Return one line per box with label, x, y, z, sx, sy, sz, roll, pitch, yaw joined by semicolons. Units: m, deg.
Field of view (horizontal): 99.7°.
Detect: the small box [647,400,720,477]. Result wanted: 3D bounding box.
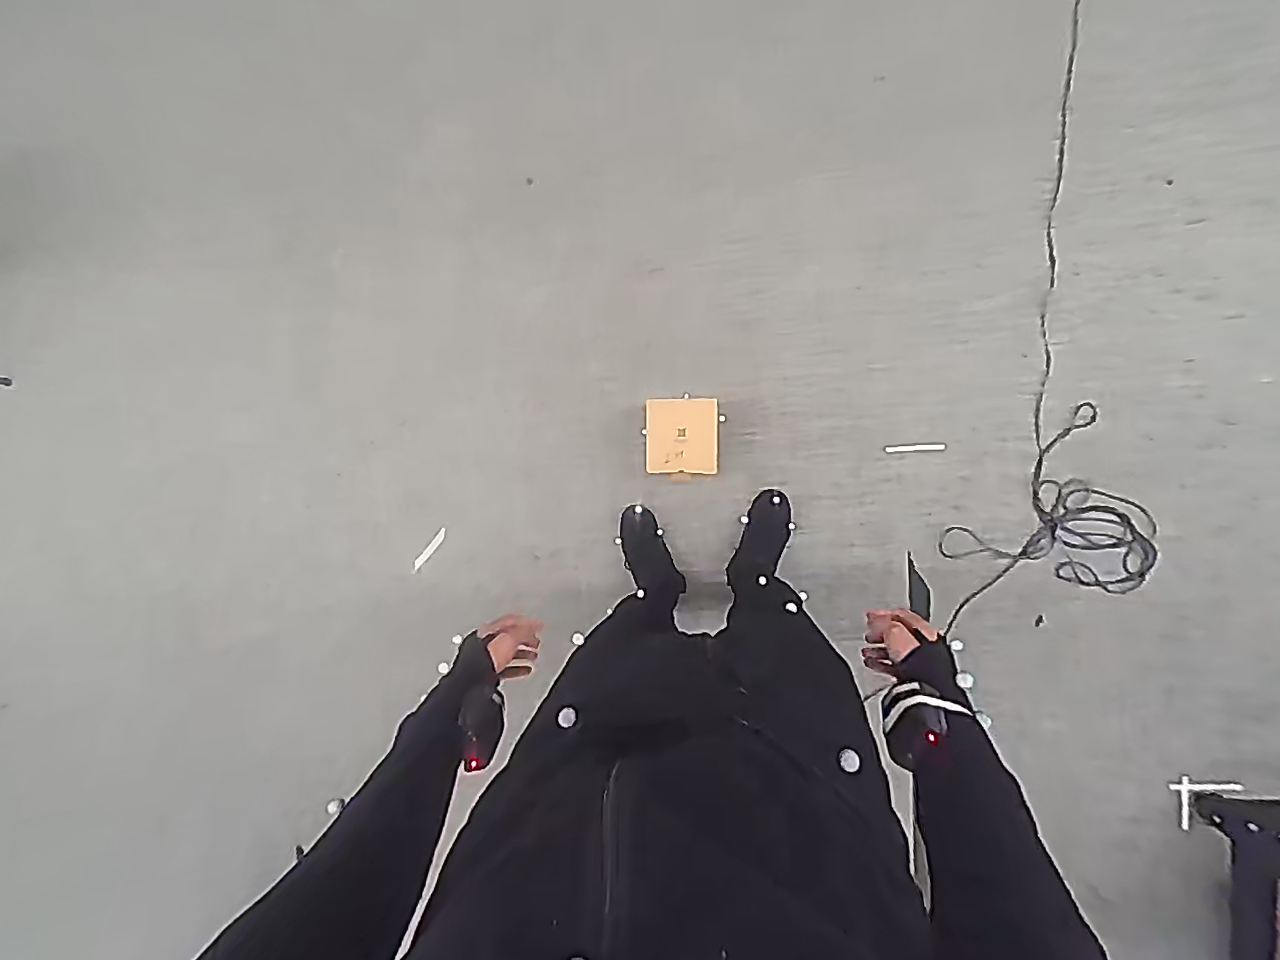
small box;0.110;-0.102;1.326;0.168;0.176;0.179;1;95;9
